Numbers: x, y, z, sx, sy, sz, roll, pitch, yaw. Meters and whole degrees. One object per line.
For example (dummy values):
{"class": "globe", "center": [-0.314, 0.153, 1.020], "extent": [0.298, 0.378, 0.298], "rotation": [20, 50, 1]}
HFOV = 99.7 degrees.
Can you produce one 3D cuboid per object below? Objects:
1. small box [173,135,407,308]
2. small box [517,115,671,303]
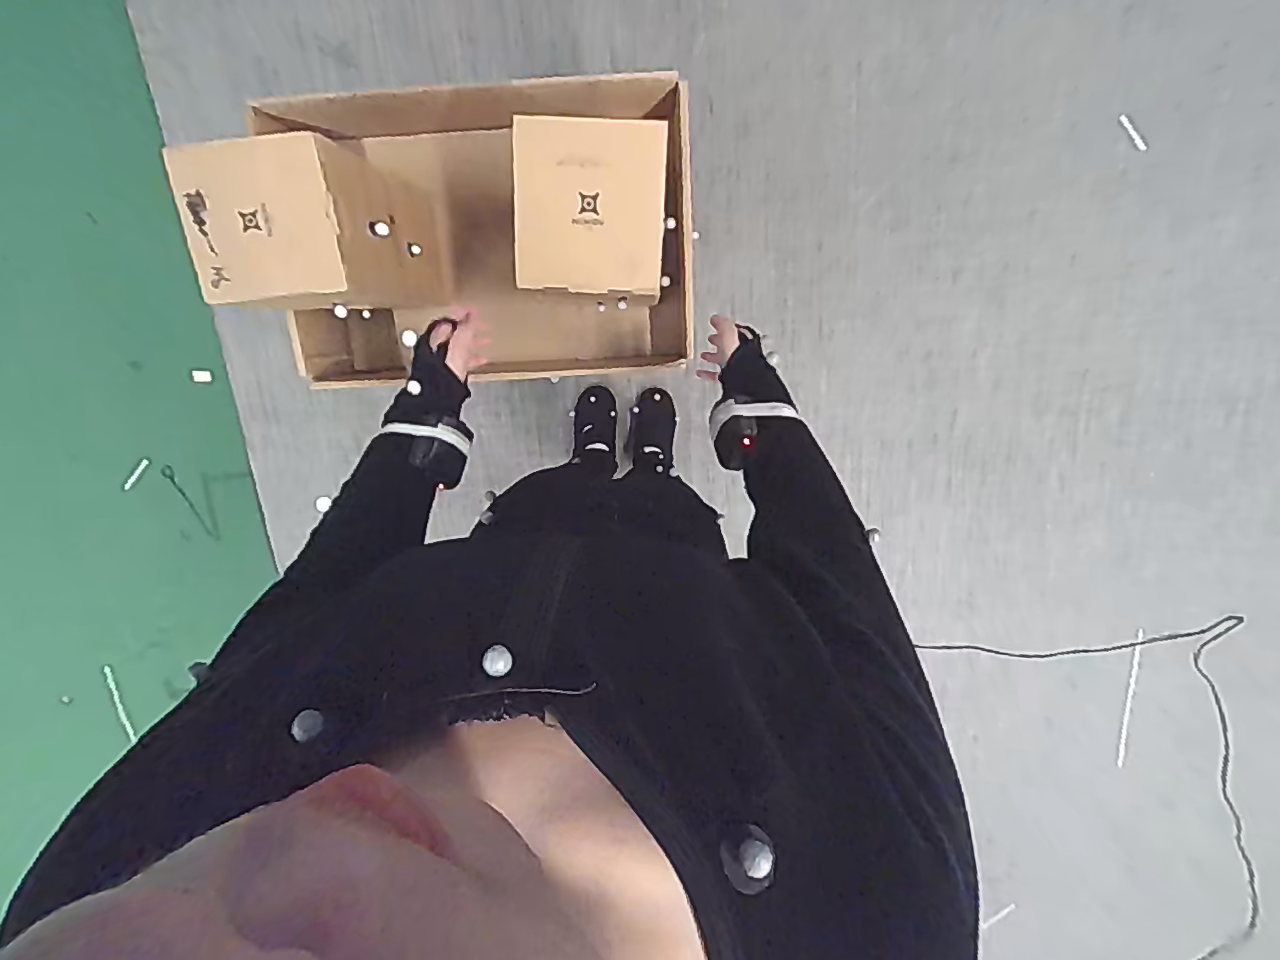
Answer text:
{"class": "small box", "center": [-0.417, -0.312, 0.684], "extent": [0.179, 0.176, 0.168], "rotation": [-4, 105, 3]}
{"class": "small box", "center": [-0.051, -0.318, 0.668], "extent": [0.168, 0.176, 0.179], "rotation": [3, 104, 0]}
